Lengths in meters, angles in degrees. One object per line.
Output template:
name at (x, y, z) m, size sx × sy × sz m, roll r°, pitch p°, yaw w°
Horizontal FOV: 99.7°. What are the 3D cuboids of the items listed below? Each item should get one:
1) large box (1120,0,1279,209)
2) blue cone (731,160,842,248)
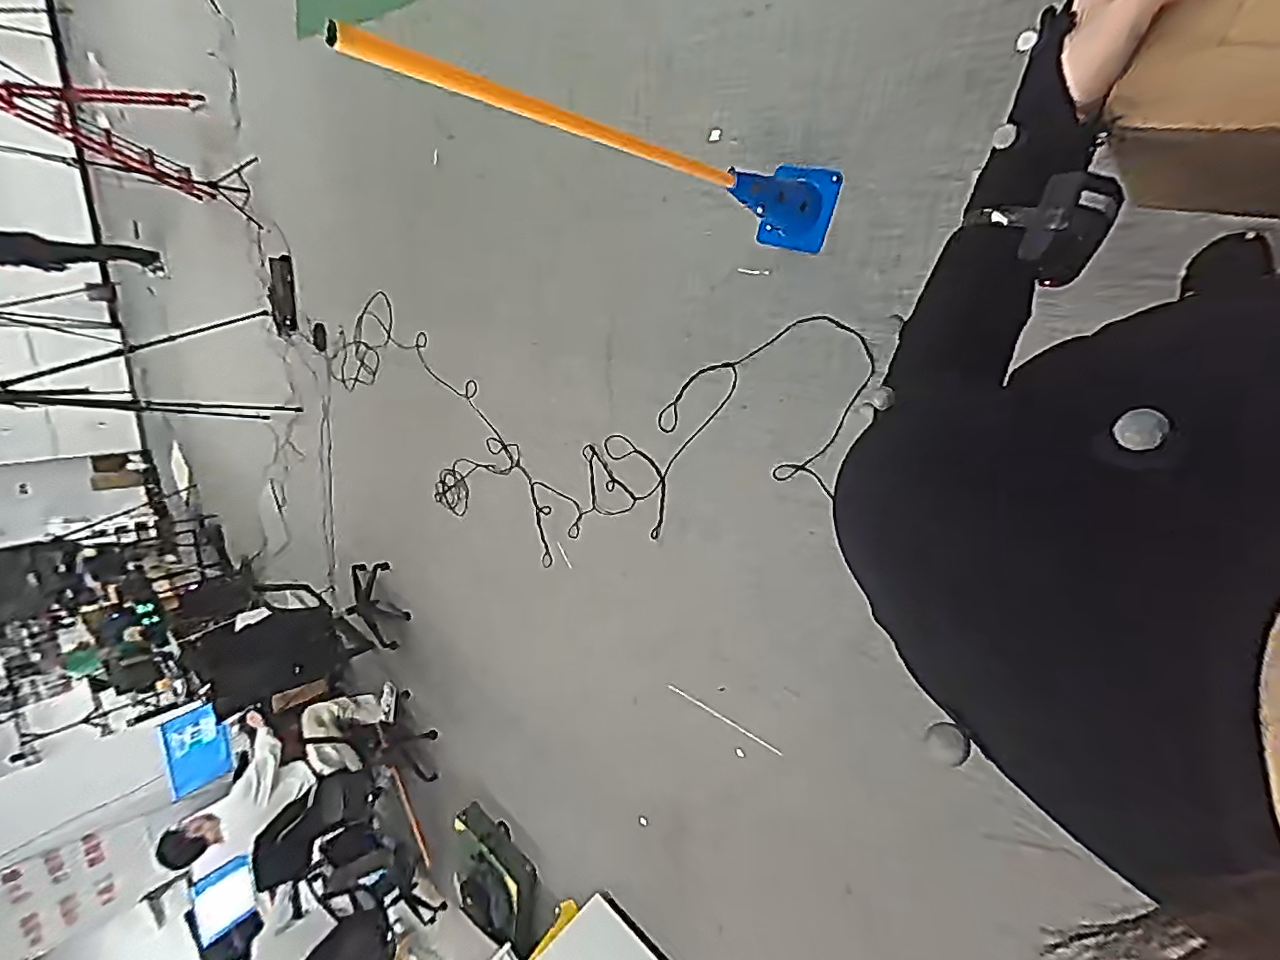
large box at (0.591, -0.343, 0.305) m, size 0.408 × 0.320 × 0.320 m, roll 28°, pitch 119°, yaw 36°
blue cone at (0.332, -0.712, 1.341) m, size 0.193 × 0.380 × 0.192 m, roll 30°, pitch 118°, yaw 31°
